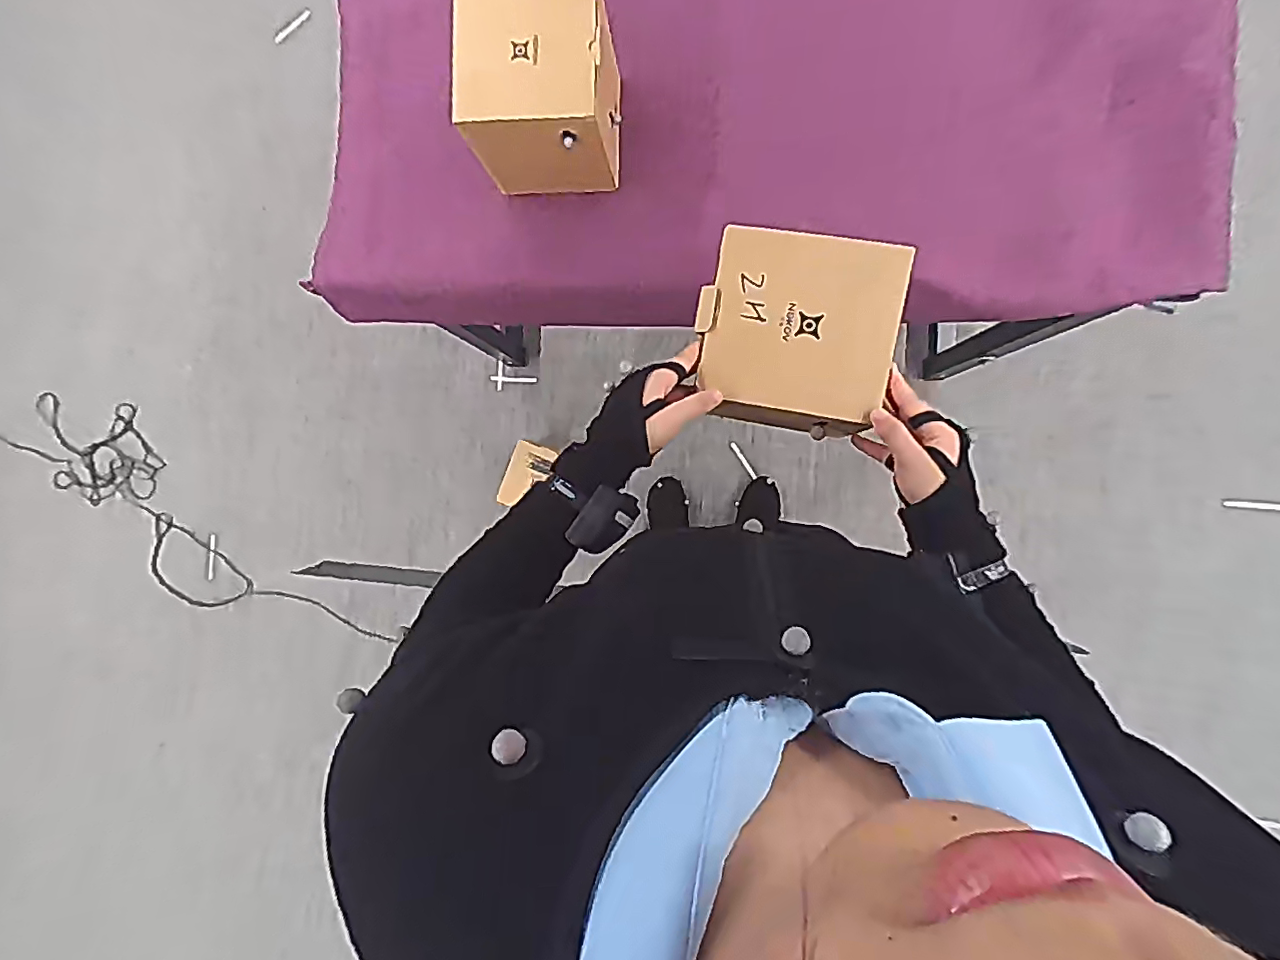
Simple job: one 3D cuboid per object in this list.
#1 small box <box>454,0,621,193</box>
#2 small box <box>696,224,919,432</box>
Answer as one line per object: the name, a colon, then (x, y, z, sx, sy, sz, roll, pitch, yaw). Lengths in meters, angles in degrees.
small box: (-0.124, -0.501, 0.711, 0.179, 0.176, 0.168, 1, 90, 5)
small box: (0.165, -0.147, 0.579, 0.179, 0.176, 0.168, 11, 92, 10)
